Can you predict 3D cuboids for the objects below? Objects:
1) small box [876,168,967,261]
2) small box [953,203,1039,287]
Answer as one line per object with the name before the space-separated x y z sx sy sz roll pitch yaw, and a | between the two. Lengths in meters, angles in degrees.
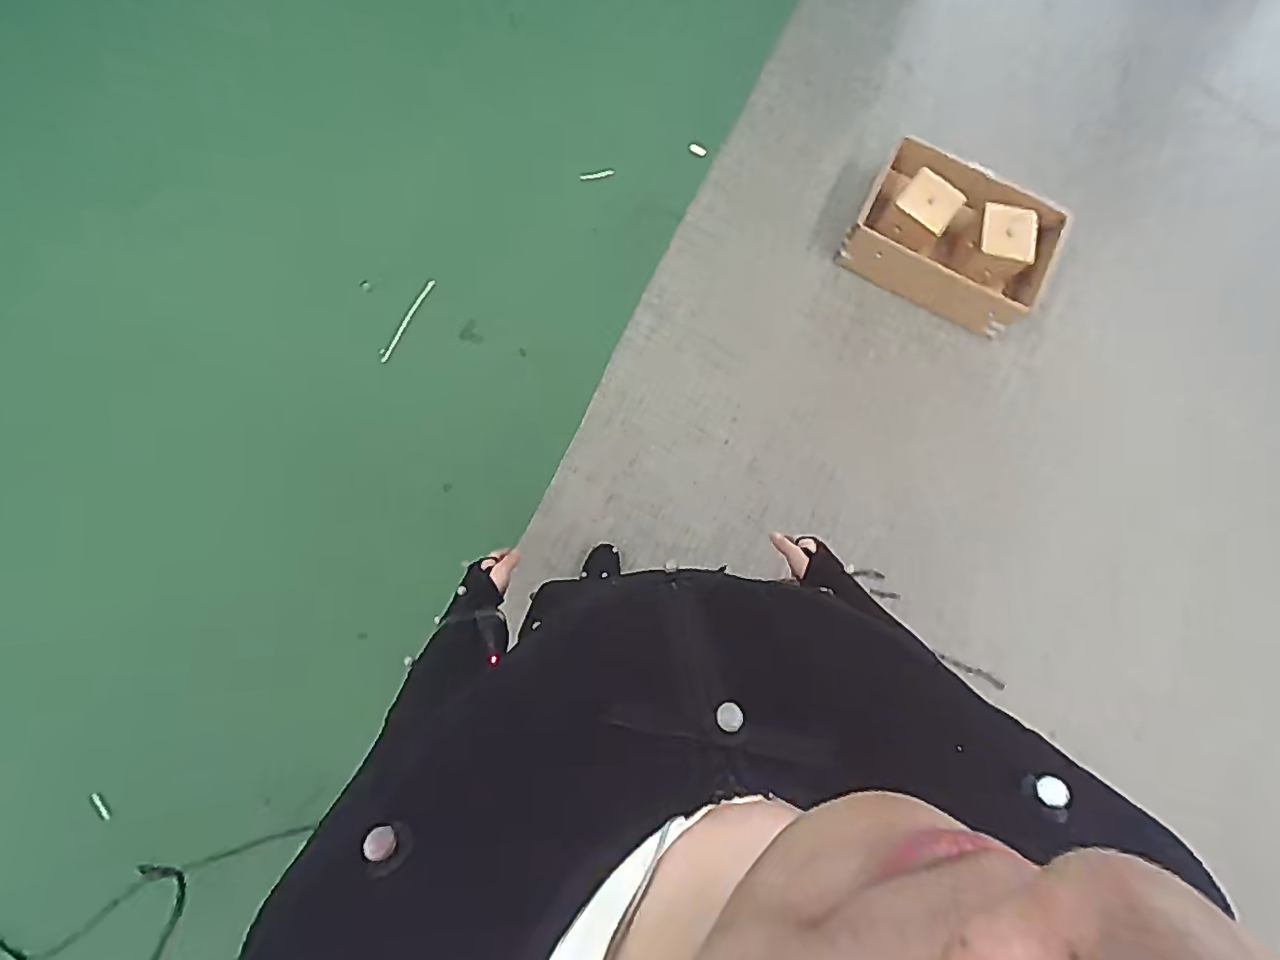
small box | 0.903 -0.855 1.758 0.168 0.176 0.179 38 79 3
small box | 1.145 -0.753 1.751 0.168 0.176 0.179 11 80 -1
